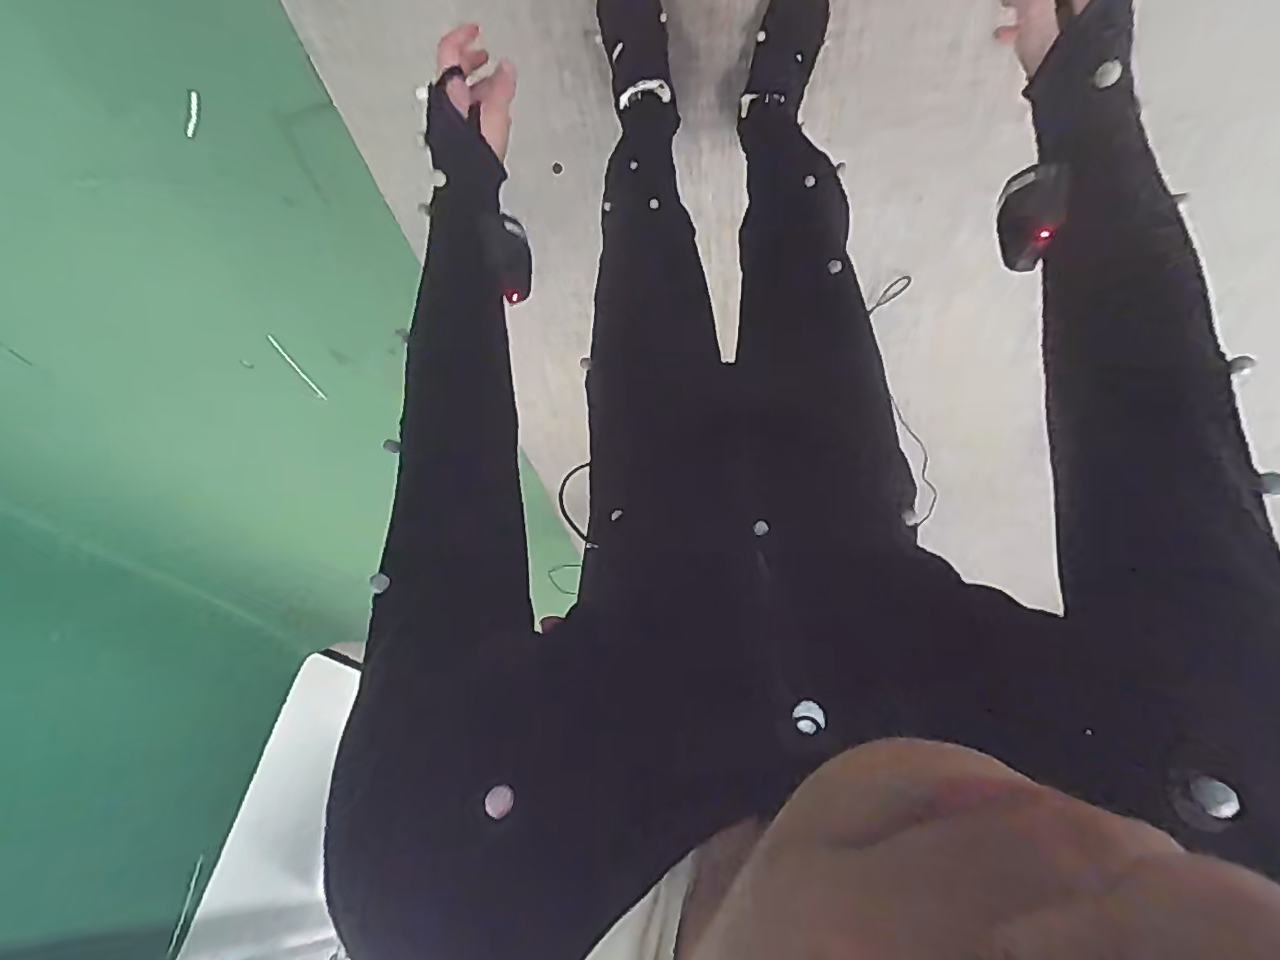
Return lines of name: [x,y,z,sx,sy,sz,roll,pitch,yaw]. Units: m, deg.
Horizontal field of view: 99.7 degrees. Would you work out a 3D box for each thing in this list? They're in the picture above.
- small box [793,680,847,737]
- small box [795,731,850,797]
small box: [0.629,0.815,1.903,0.168,0.176,0.179,-3,145,14]
small box: [0.611,0.952,1.817,0.168,0.176,0.179,-4,145,17]
